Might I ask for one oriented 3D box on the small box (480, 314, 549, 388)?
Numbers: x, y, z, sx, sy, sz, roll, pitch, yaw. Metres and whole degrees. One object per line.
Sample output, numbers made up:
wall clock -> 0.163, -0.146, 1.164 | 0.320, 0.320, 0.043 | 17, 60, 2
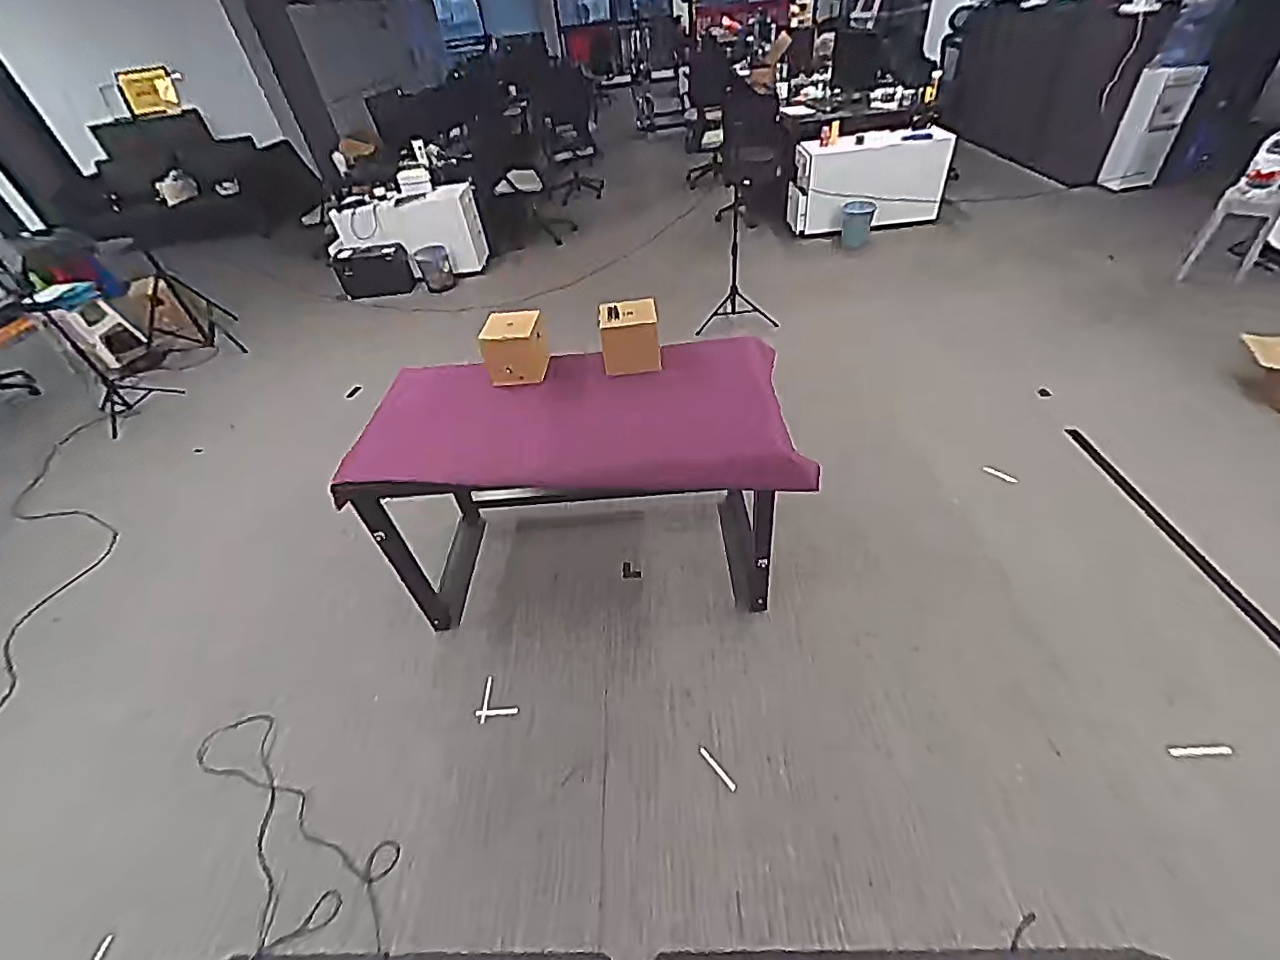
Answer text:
small box -> -0.397, -0.416, 1.745 | 0.168, 0.176, 0.179 | -3, 43, 5
